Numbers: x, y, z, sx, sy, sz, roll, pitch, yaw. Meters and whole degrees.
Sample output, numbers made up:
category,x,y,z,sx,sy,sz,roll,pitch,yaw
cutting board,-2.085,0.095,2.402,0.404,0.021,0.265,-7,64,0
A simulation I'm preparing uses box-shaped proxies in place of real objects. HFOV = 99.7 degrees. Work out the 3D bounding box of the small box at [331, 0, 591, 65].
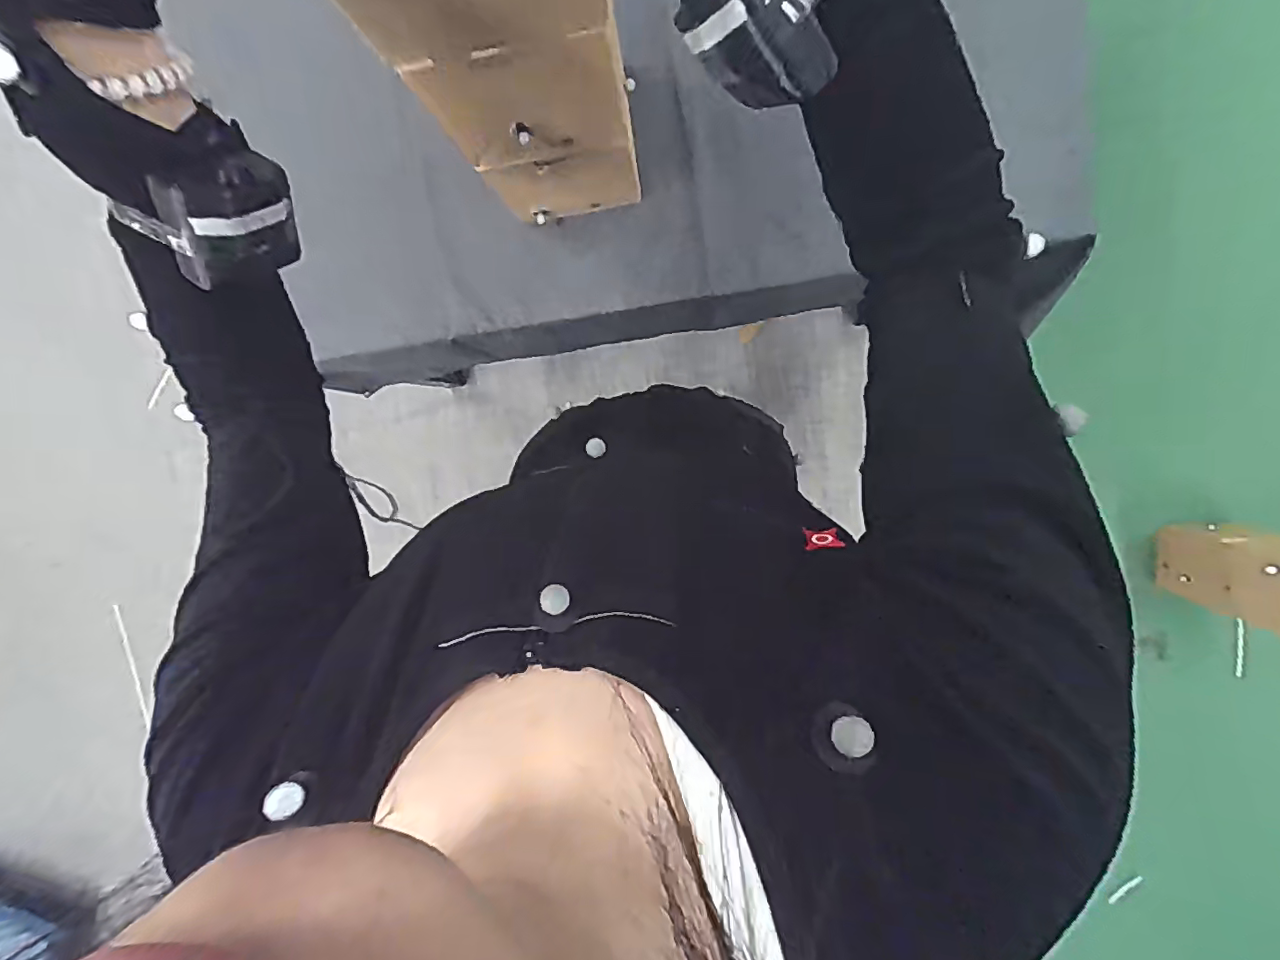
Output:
category,x,y,z,sx,sy,sz,roll,pitch,yaw
small box,-0.124,-0.393,0.319,0.179,0.176,0.168,-6,96,5

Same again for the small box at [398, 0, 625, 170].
category,x,y,z,sx,sy,sz,roll,pitch,yaw
small box,-0.111,-0.415,0.482,0.168,0.176,0.179,-8,96,6

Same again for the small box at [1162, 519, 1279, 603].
category,x,y,z,sx,sy,sz,roll,pitch,yaw
small box,1.426,0.192,1.311,0.179,0.176,0.168,-3,97,6

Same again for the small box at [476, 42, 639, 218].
category,x,y,z,sx,sy,sz,roll,pitch,yaw
small box,-0.098,-0.433,0.643,0.168,0.176,0.179,-8,95,6
